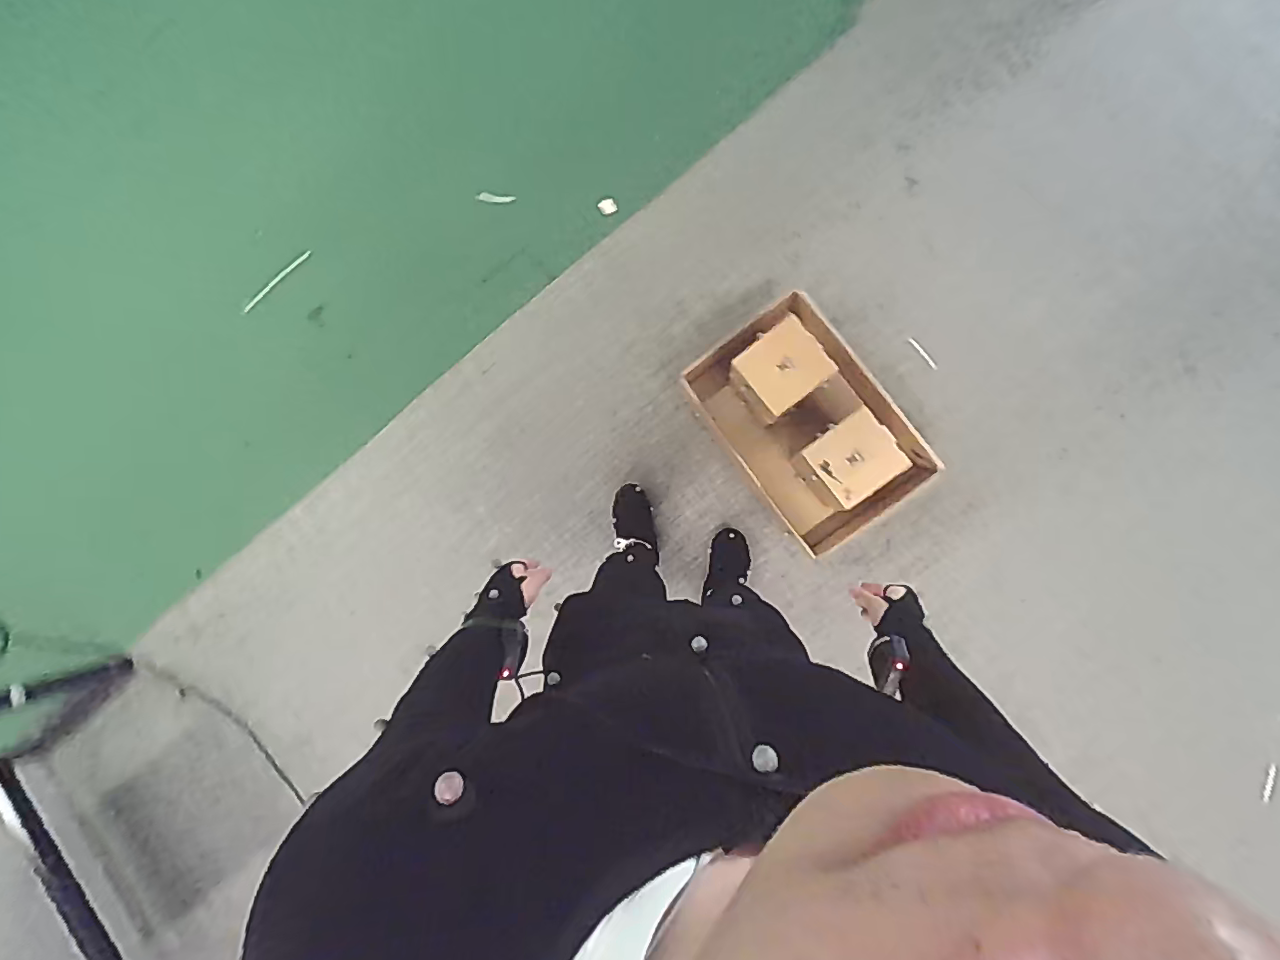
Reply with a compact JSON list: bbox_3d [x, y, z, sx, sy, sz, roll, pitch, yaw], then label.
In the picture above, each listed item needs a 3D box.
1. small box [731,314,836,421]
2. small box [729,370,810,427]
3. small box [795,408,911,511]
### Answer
[{"bbox_3d":[0.336,-0.258,1.296,0.179,0.176,0.168,-37,85,6],"label":"small box"},{"bbox_3d":[0.356,-0.260,1.457,0.179,0.176,0.168,-36,85,5],"label":"small box"},{"bbox_3d":[0.488,-0.043,1.269,0.179,0.176,0.168,-36,82,6],"label":"small box"}]
